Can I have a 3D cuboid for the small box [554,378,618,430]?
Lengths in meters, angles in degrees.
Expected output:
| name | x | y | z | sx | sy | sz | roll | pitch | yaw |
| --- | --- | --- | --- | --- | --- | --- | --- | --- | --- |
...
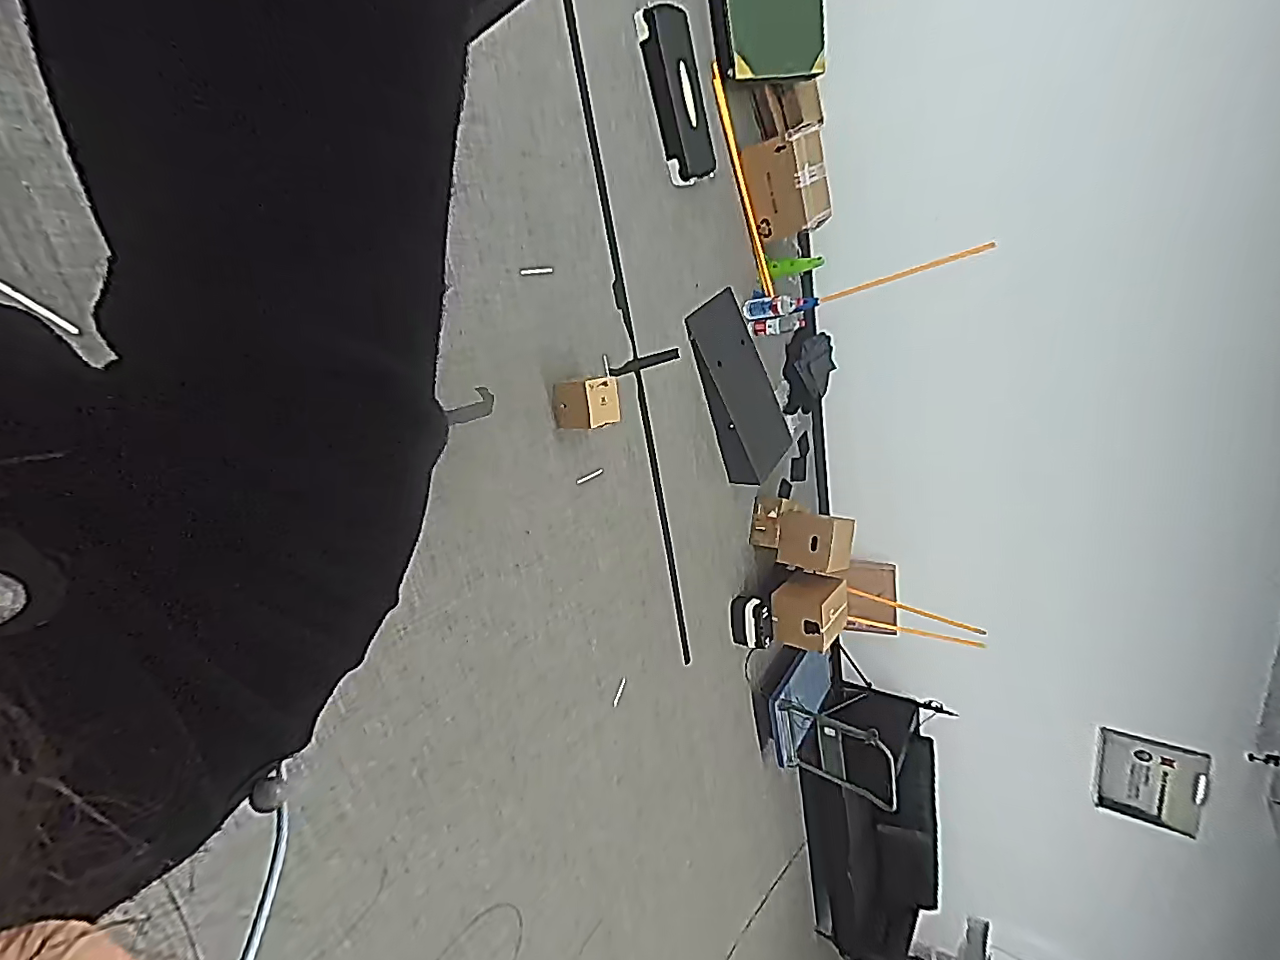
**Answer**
| name | x | y | z | sx | sy | sz | roll | pitch | yaw |
| --- | --- | --- | --- | --- | --- | --- | --- | --- | --- |
| small box | -0.205 | -0.291 | 2.047 | 0.168 | 0.176 | 0.179 | -22 | 112 | -48 |
